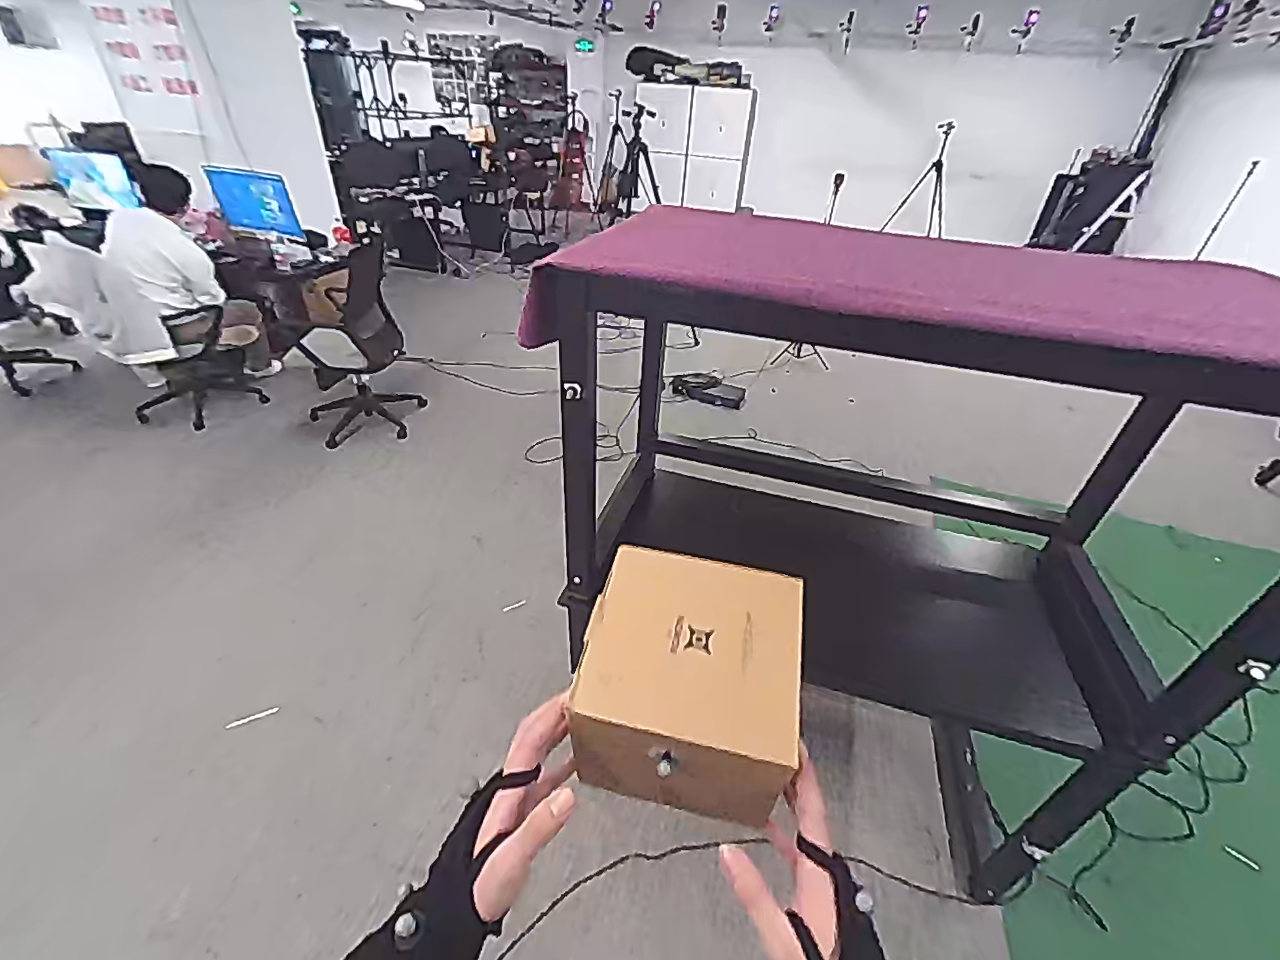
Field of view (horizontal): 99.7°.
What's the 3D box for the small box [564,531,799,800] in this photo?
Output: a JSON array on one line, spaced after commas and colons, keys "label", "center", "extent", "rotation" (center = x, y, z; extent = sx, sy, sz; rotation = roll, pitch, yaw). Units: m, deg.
[{"label": "small box", "center": [0.044, 0.175, 0.513], "extent": [0.179, 0.176, 0.168], "rotation": [10, 45, 10]}]
